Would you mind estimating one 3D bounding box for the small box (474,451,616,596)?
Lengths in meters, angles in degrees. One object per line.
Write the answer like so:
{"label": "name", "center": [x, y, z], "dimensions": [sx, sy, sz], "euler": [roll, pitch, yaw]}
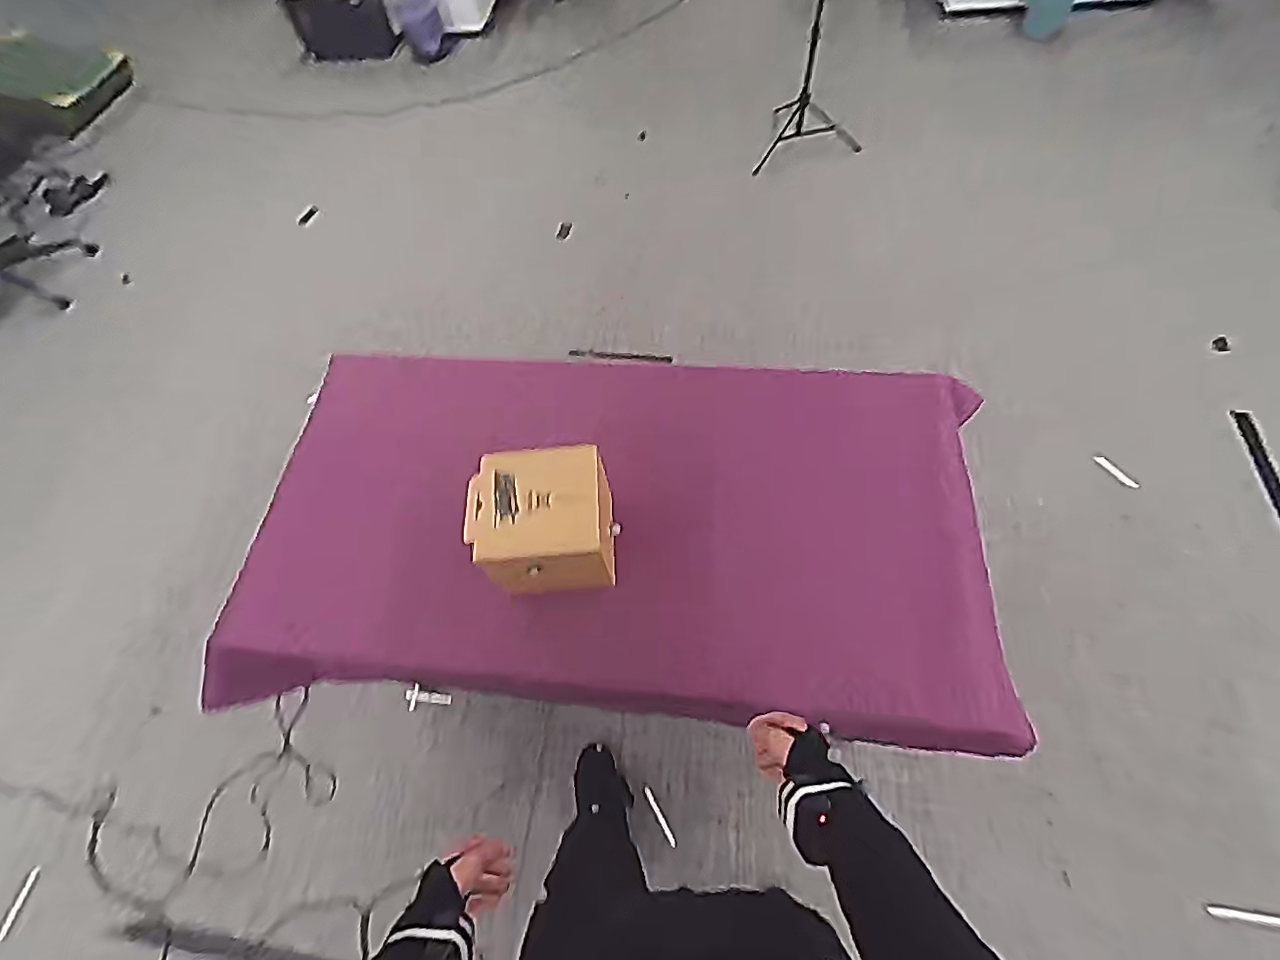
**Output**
{"label": "small box", "center": [-0.136, 0.073, 0.831], "dimensions": [0.179, 0.176, 0.168], "euler": [-5, 62, 2]}
